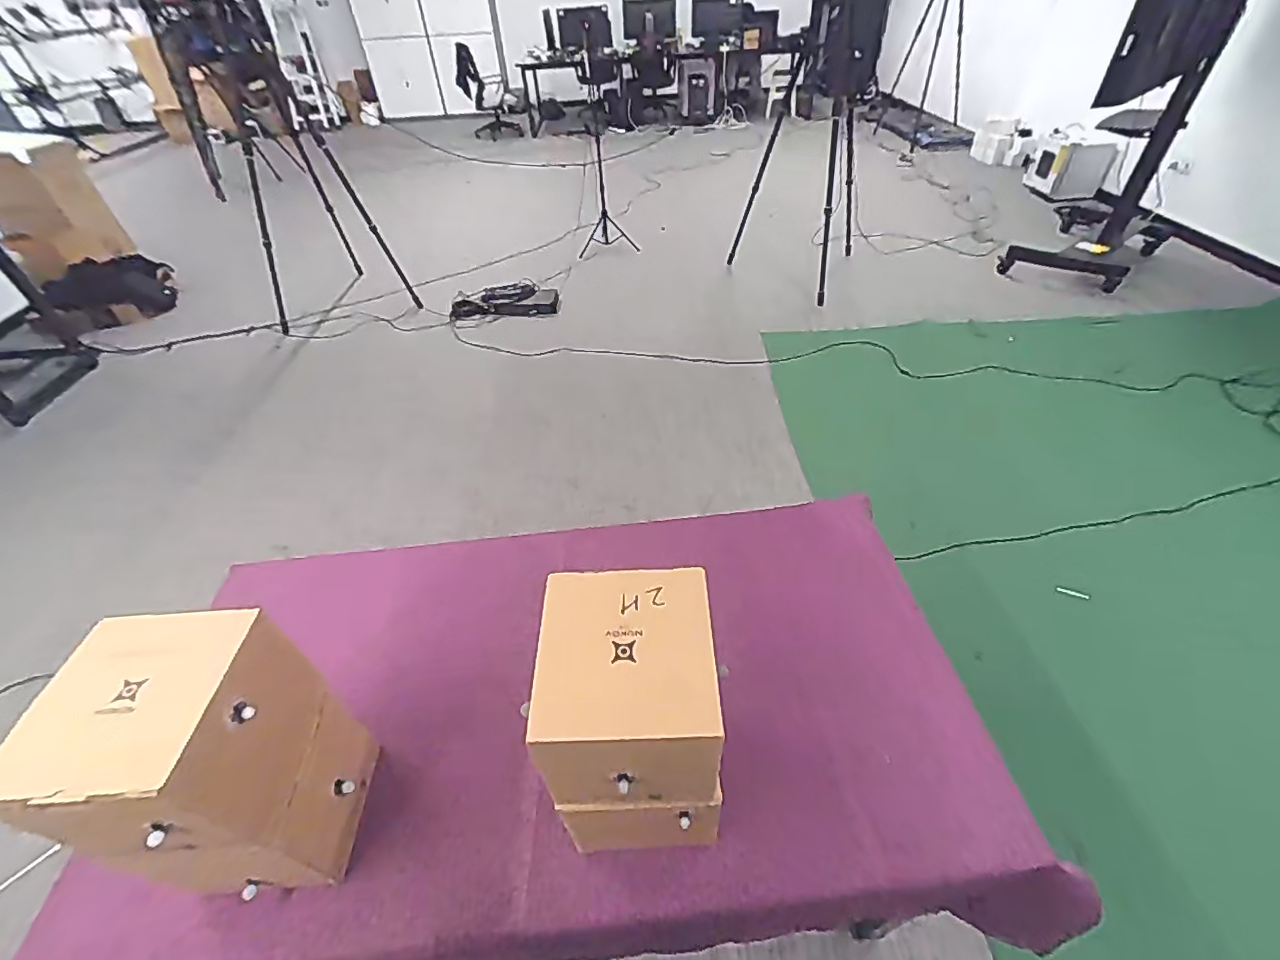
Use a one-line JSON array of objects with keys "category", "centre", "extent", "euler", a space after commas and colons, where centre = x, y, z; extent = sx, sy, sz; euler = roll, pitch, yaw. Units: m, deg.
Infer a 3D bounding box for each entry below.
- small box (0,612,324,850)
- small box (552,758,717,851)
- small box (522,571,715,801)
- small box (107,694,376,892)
[{"category": "small box", "centre": [-0.461, 0.258, 0.551], "extent": [0.168, 0.176, 0.179], "euler": [-3, 42, 1]}, {"category": "small box", "centre": [-0.003, 0.340, 0.668], "extent": [0.179, 0.176, 0.168], "euler": [-3, 43, 0]}, {"category": "small box", "centre": [-0.012, 0.216, 0.560], "extent": [0.168, 0.176, 0.179], "euler": [-2, 43, 2]}, {"category": "small box", "centre": [-0.454, 0.381, 0.659], "extent": [0.179, 0.176, 0.168], "euler": [-4, 43, -1]}]
